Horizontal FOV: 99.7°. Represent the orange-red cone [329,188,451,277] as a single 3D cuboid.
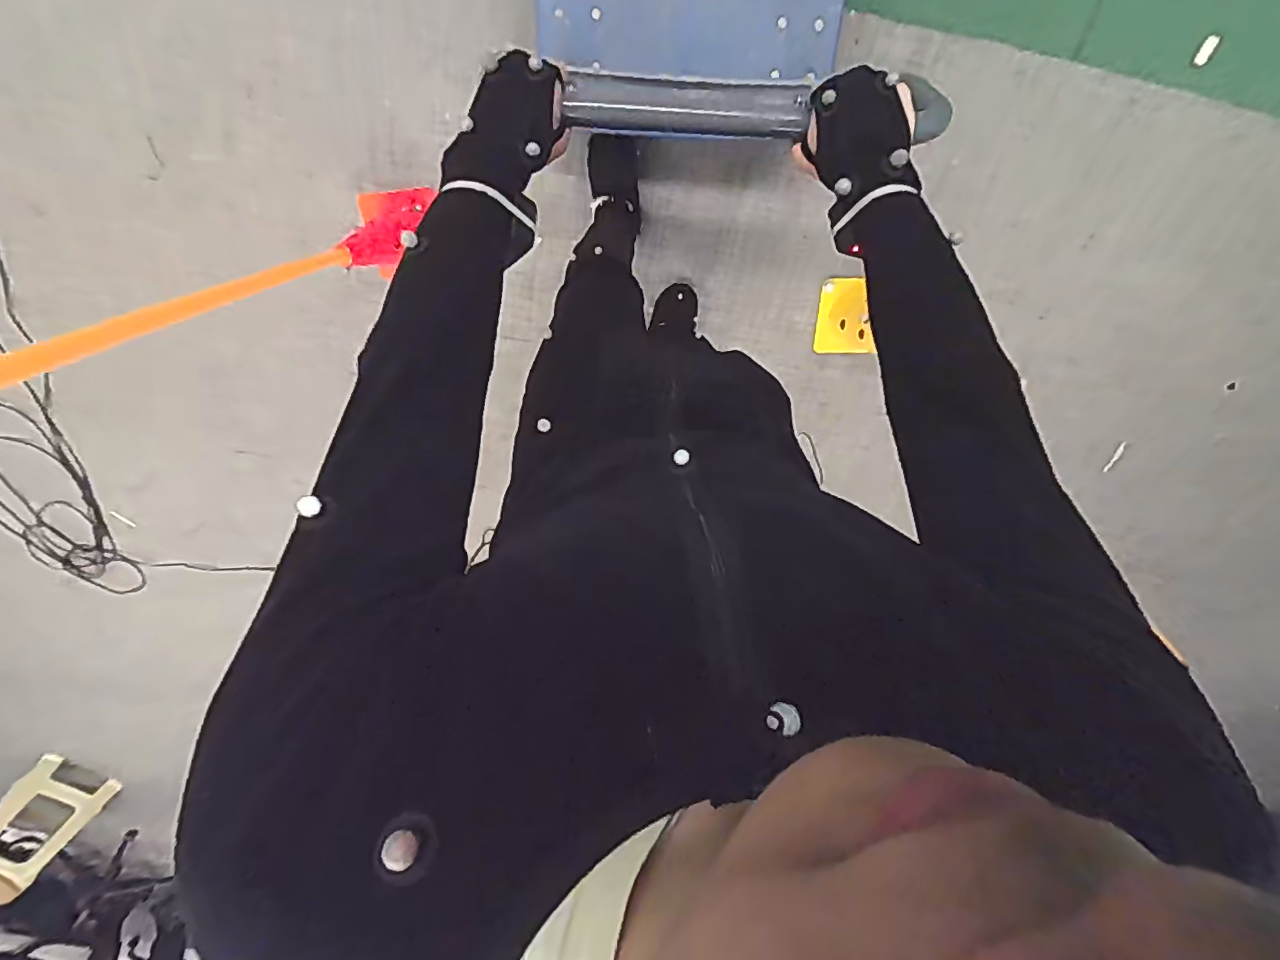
[{"bbox_3d":[-0.591,-0.533,1.212,0.199,0.360,0.198,-4,120,4],"label":"orange-red cone"}]
